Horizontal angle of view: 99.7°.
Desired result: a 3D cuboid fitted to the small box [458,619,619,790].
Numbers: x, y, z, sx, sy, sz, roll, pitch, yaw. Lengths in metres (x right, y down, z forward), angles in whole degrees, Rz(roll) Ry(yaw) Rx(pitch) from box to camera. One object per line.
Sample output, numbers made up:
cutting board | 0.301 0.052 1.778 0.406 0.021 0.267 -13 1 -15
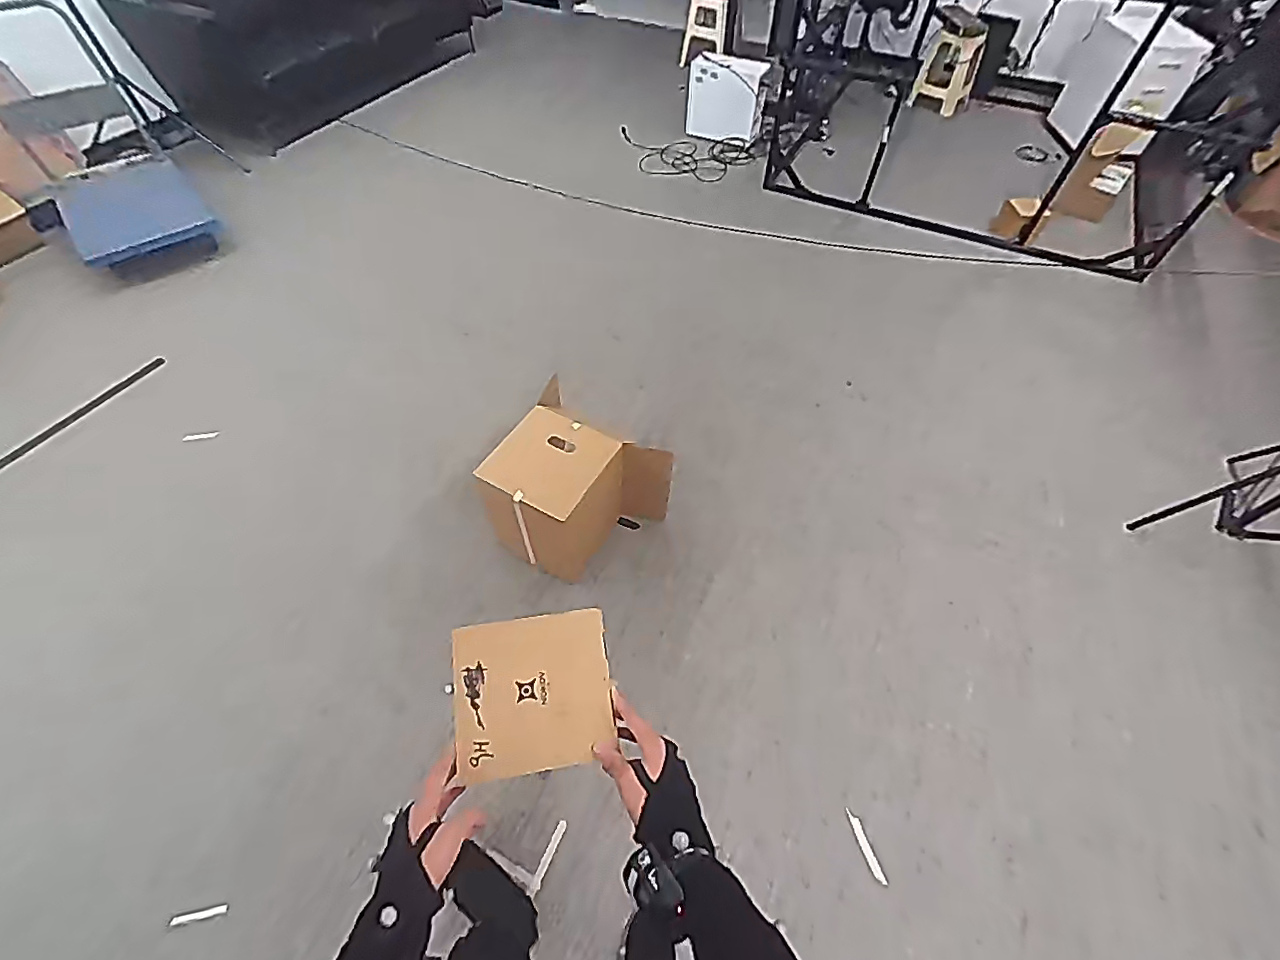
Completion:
small box | -0.130 0.281 0.693 0.179 0.176 0.168 -5 67 -10
